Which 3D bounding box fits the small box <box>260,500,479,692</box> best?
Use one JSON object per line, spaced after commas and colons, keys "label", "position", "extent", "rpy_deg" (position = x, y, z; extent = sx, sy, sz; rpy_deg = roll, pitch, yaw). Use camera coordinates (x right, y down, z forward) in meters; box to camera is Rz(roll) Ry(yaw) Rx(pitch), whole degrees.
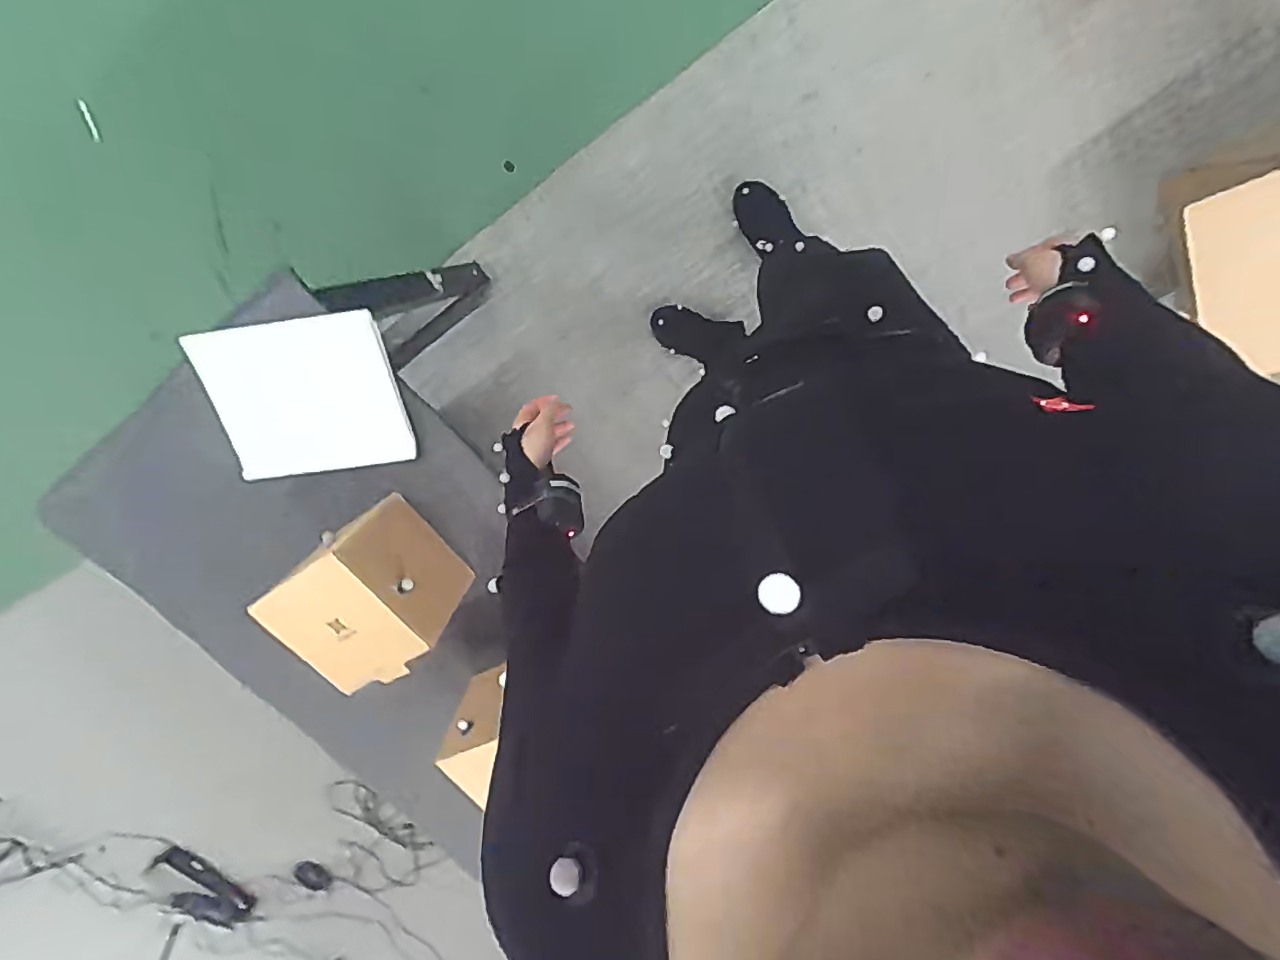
{"label": "small box", "position": [-0.360, 0.149, 0.756], "extent": [0.168, 0.176, 0.179], "rpy_deg": [-32, 110, 17]}
